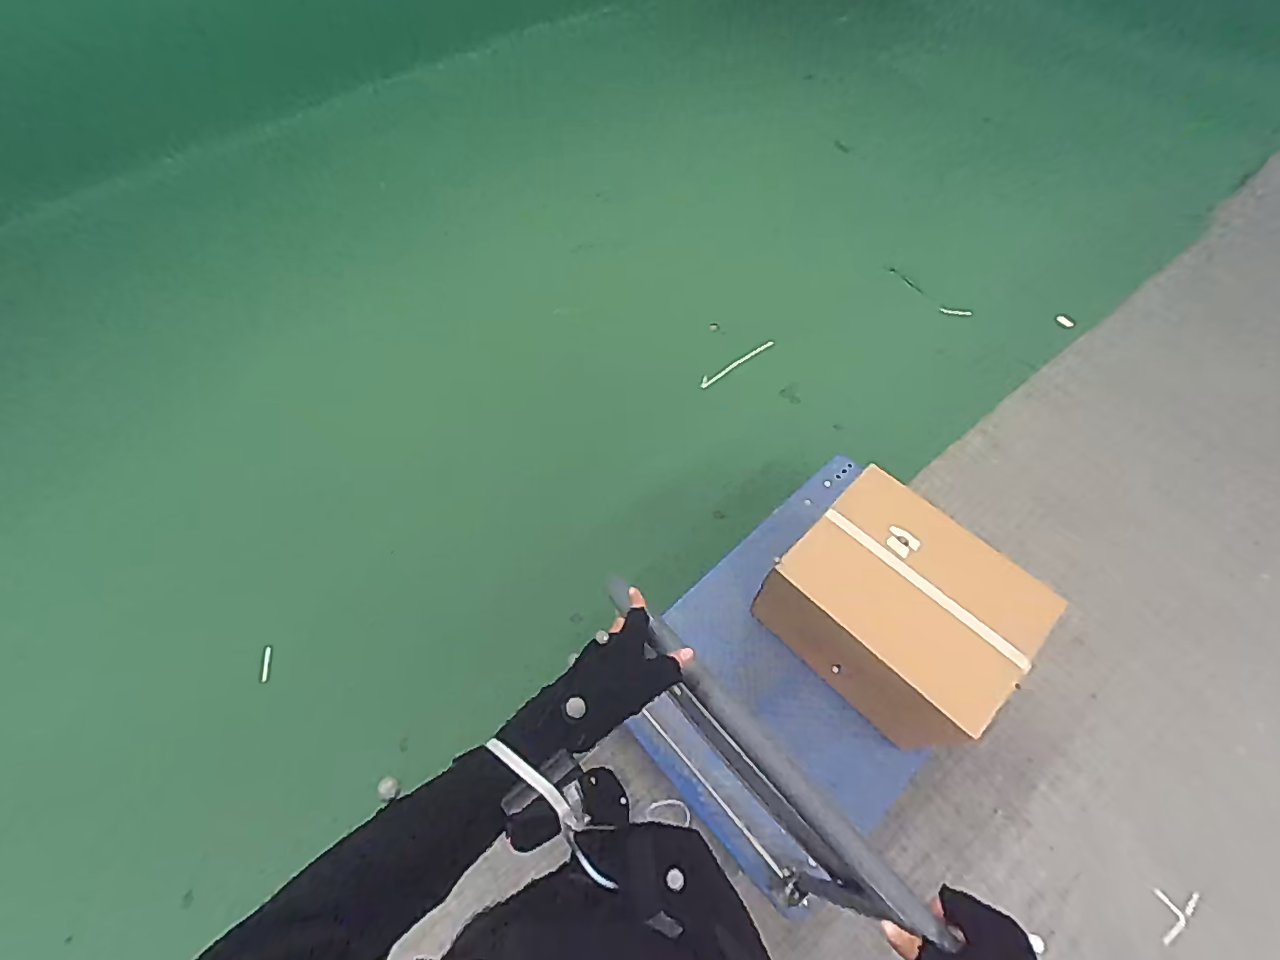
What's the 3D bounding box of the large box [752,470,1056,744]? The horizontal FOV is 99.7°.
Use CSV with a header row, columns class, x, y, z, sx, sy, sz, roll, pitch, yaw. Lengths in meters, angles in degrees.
class,x,y,z,sx,sy,sz,roll,pitch,yaw
large box,0.495,0.264,1.103,0.320,0.320,0.408,-40,67,-19
